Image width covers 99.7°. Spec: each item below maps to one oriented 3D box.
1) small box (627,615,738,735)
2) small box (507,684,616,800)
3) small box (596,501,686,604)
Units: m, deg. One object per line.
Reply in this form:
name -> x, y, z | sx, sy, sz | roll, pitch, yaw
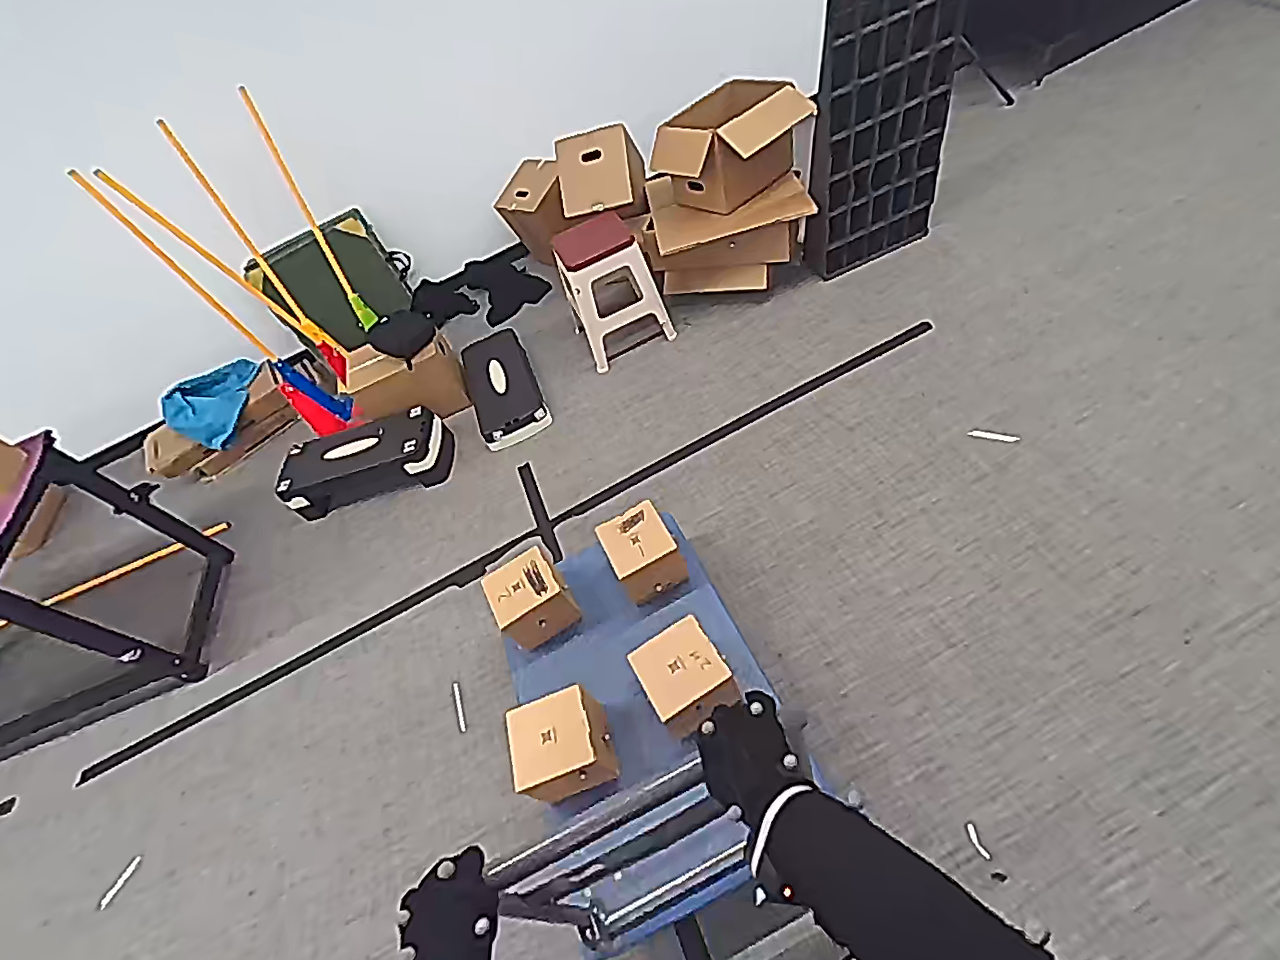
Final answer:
small box -> 0.100, 0.444, 1.216 | 0.179, 0.176, 0.168 | -31, 51, -6
small box -> -0.172, 0.586, 1.200 | 0.179, 0.176, 0.168 | -22, 50, 0
small box -> 0.005, 0.196, 1.437 | 0.168, 0.176, 0.179 | -28, 51, -4
